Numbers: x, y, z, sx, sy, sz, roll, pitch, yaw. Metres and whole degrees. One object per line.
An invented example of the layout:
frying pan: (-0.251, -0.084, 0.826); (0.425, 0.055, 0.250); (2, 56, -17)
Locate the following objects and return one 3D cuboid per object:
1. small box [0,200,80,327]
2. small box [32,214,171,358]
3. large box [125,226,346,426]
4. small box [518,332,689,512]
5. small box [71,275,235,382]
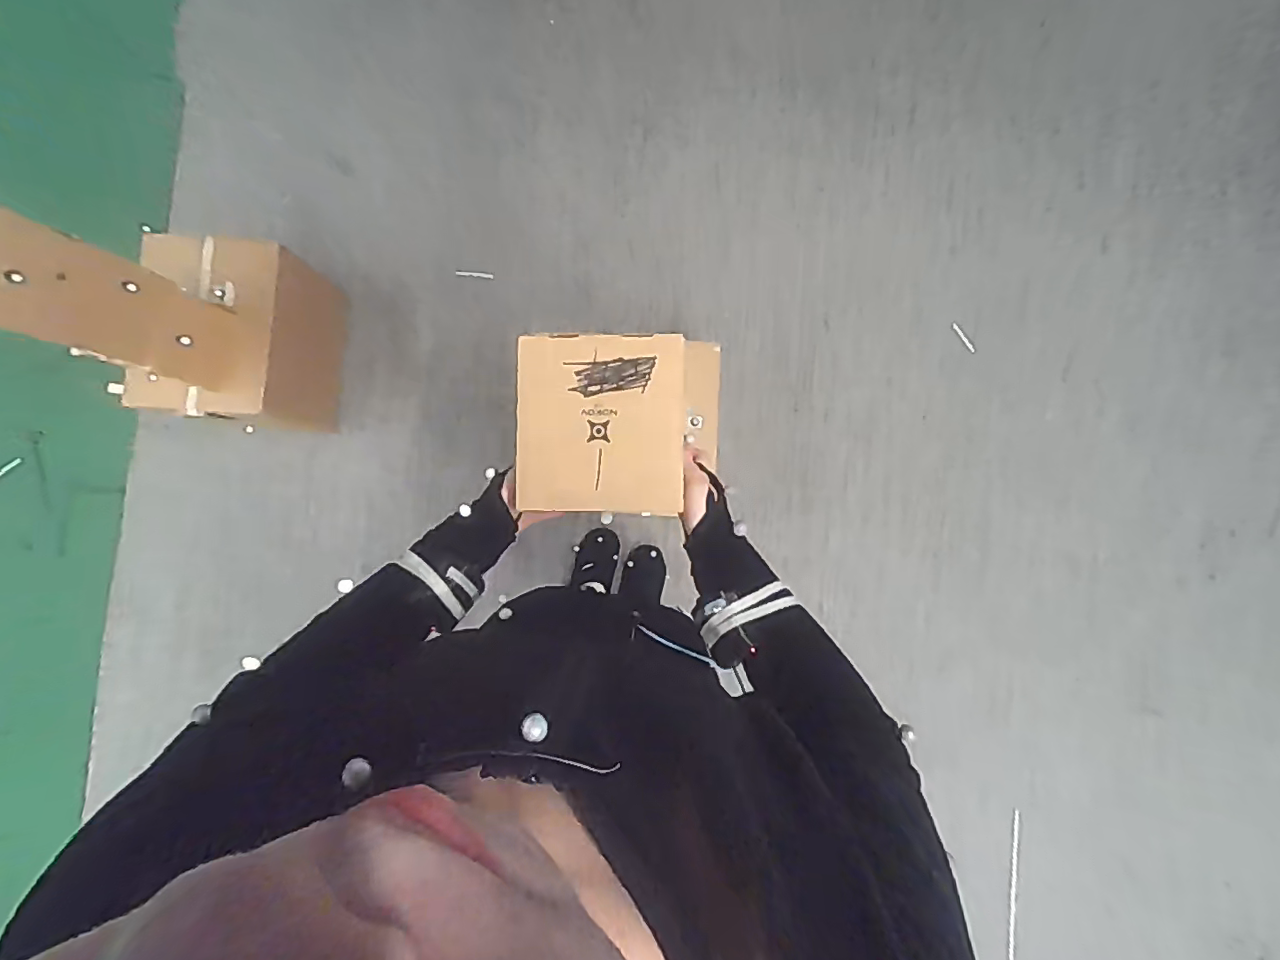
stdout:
small box: (-0.997, -0.342, 0.788); (0.179, 0.176, 0.168); (19, 87, 1)
small box: (-0.990, -0.338, 0.952); (0.168, 0.176, 0.179); (18, 88, 1)
large box: (-0.983, -0.359, 1.359); (0.320, 0.320, 0.408); (4, 86, -1)
small box: (-0.033, -0.055, 0.606); (0.168, 0.176, 0.179); (1, 89, 3)
small box: (-0.988, -0.321, 1.114); (0.168, 0.176, 0.179); (15, 88, 0)
